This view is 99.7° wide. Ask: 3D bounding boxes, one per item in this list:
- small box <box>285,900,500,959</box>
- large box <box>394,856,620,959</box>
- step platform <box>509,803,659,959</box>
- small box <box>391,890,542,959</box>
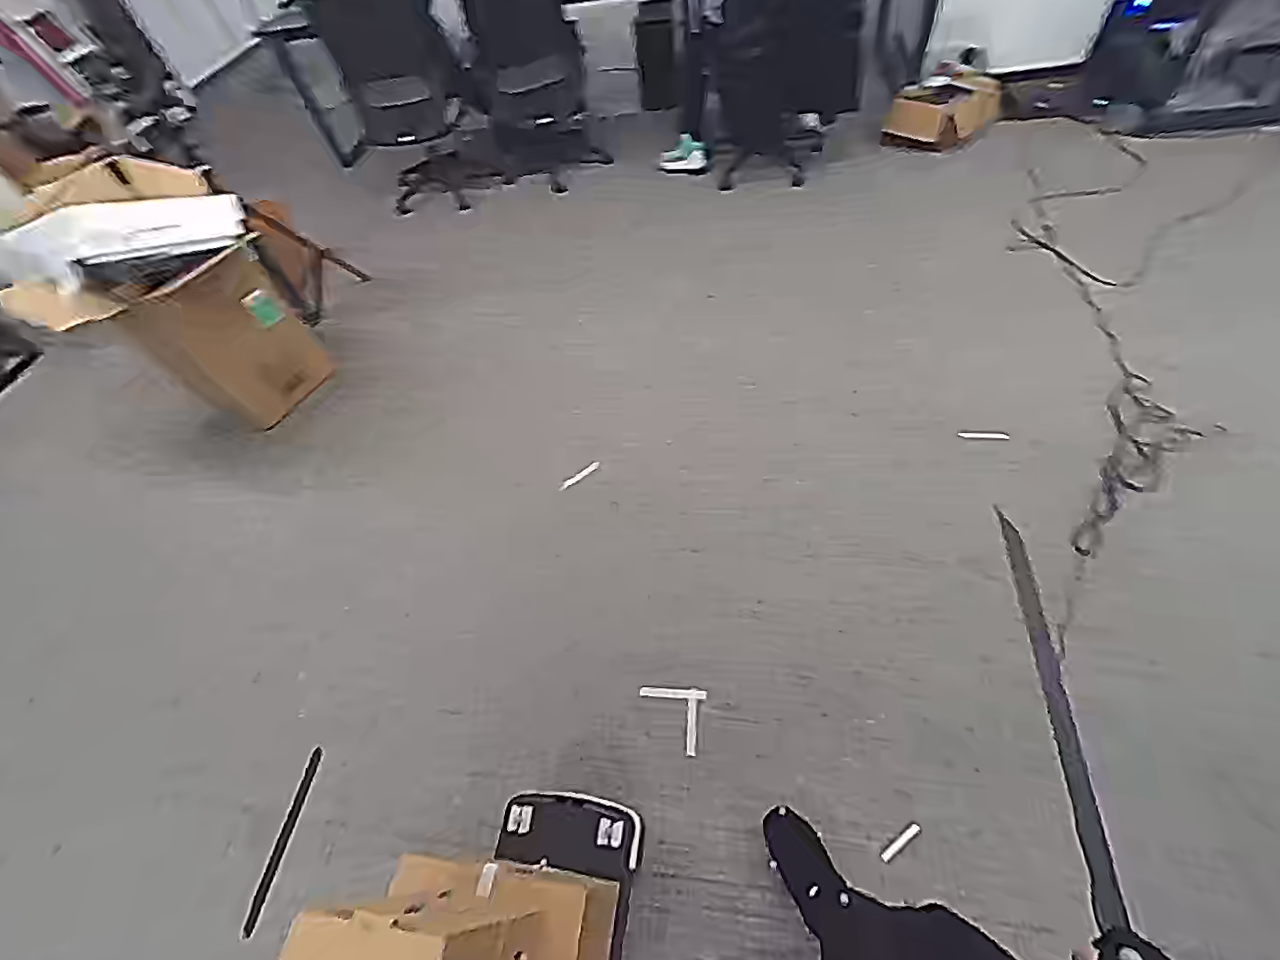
[{"bbox_3d":[-0.260,0.549,0.550,0.168,0.176,0.179,2,55,11],"label":"small box"},{"bbox_3d":[-0.226,0.846,0.840,0.320,0.320,0.408,2,56,12],"label":"large box"},{"bbox_3d":[-0.172,1.007,1.011,0.286,0.204,0.684,7,57,14],"label":"step platform"},{"bbox_3d":[-0.236,0.641,0.684,0.168,0.176,0.179,3,56,11],"label":"small box"}]
